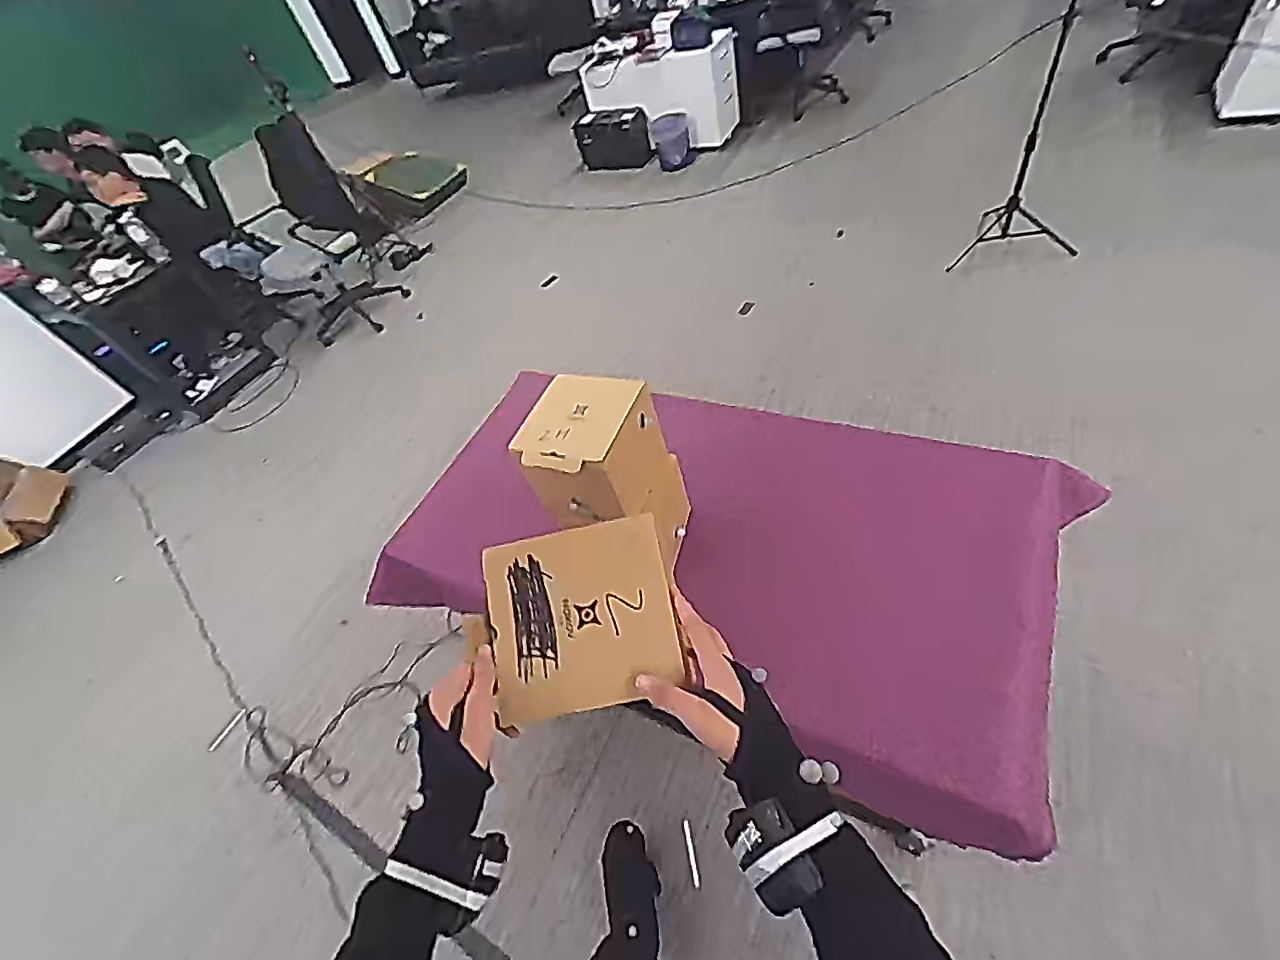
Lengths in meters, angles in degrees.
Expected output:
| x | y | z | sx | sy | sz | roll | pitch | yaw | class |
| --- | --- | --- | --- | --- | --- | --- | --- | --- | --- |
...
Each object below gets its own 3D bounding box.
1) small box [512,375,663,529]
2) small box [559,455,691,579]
| x | y | z | sx | sy | sz | roll | pitch | yaw | class |
| --- | --- | --- | --- | --- | --- | --- | --- | --- | --- |
| -0.073 | -0.047 | 0.883 | 0.168 | 0.176 | 0.179 | 9 | 55 | 24 | small box |
| -0.018 | 0.065 | 0.993 | 0.179 | 0.176 | 0.168 | 5 | 54 | 20 | small box |
